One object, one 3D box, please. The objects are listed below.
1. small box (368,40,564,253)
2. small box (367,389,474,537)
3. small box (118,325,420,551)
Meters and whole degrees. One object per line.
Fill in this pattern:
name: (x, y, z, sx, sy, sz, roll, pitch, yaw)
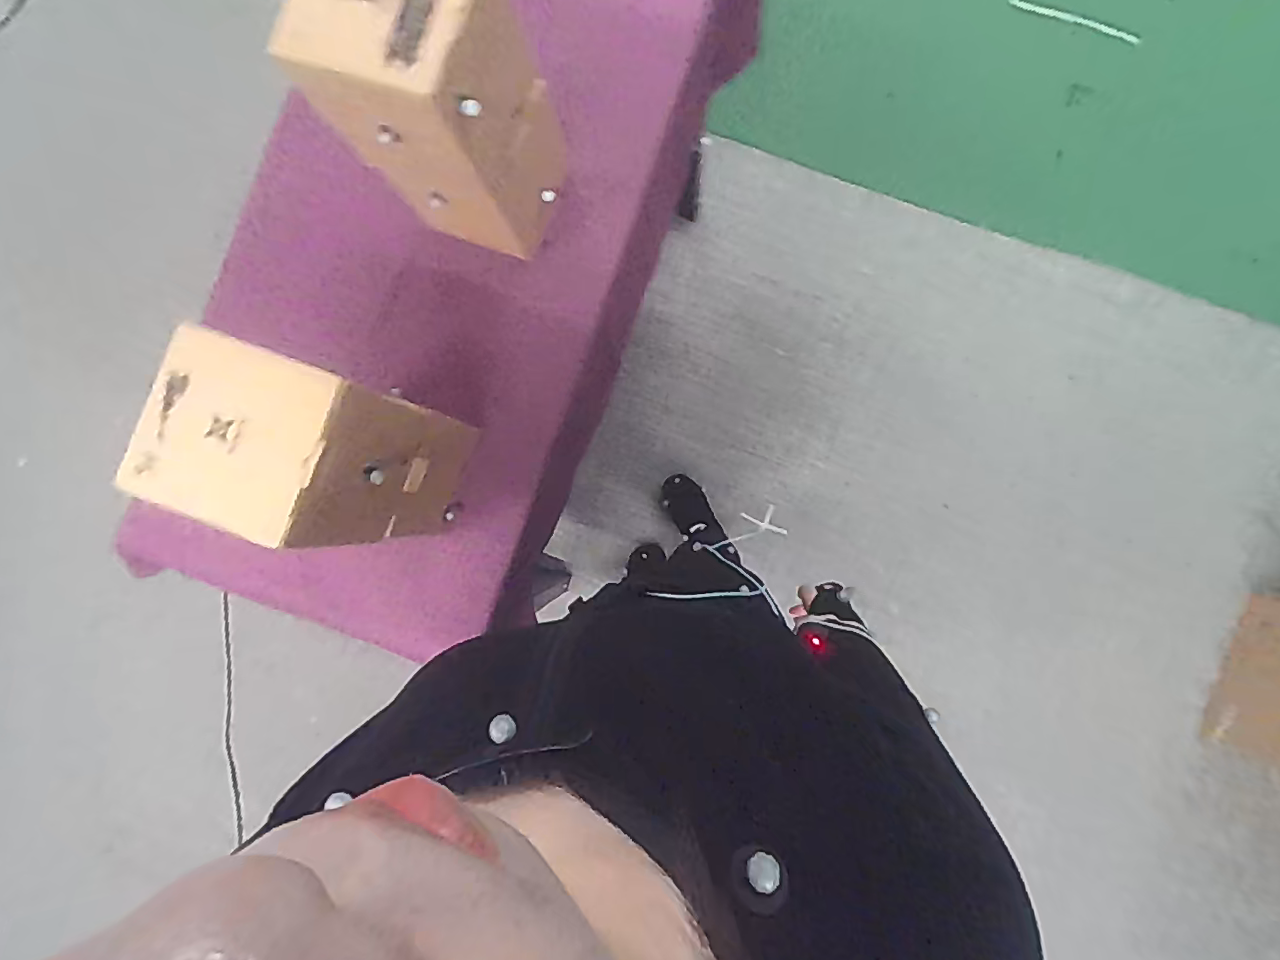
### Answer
small box: (-0.227, -0.445, 0.749, 0.179, 0.176, 0.168, 21, 89, 5)
small box: (-0.352, -0.030, 0.736, 0.179, 0.176, 0.168, 18, 88, 6)
small box: (-0.367, -0.037, 0.572, 0.179, 0.176, 0.168, 20, 88, 4)
